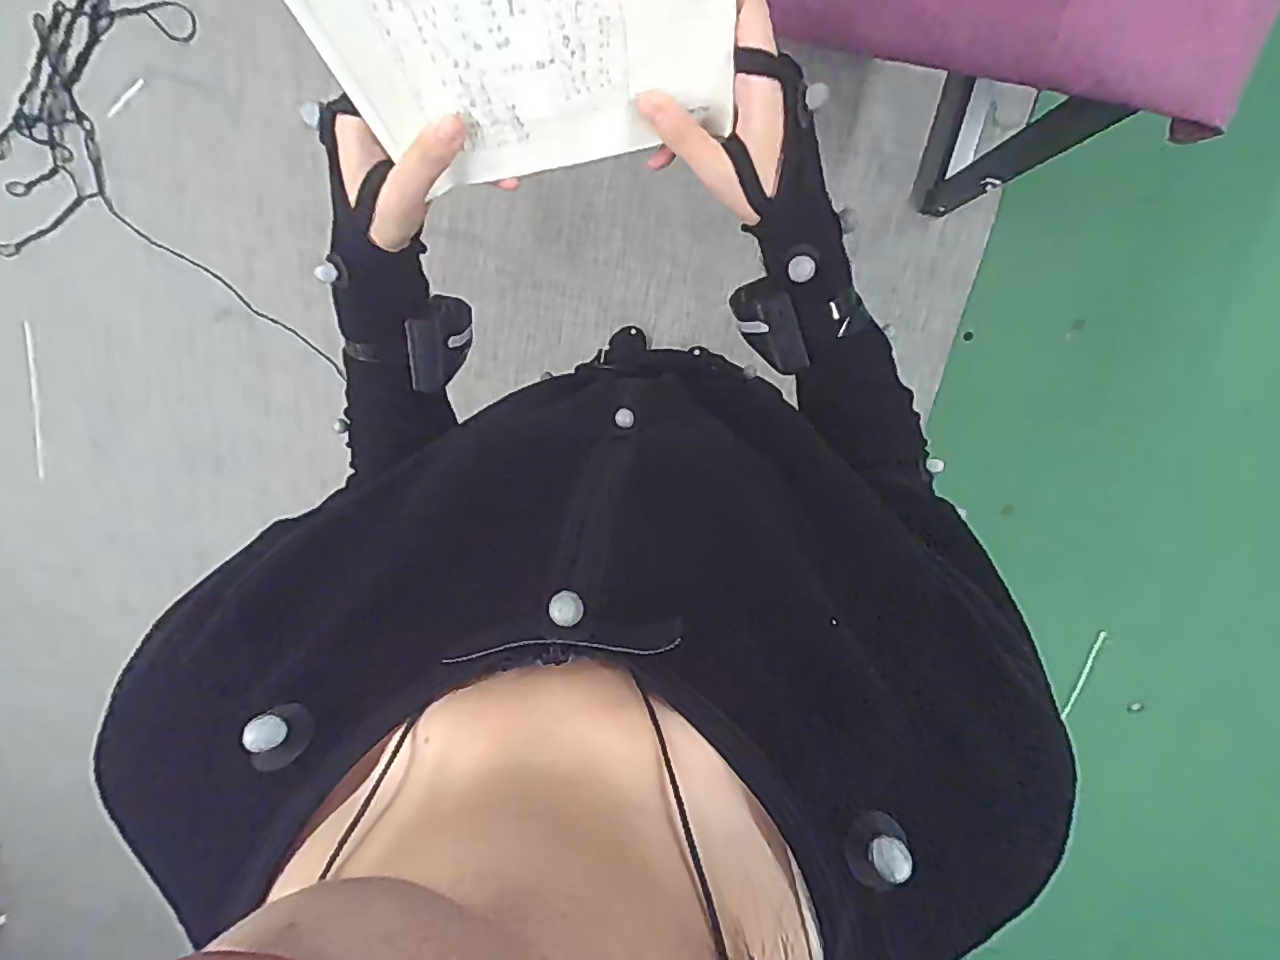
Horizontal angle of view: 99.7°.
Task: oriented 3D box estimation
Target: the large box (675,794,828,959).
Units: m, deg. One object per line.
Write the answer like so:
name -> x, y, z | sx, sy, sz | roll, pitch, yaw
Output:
large box -> 0.312, 1.182, 1.612 | 0.408, 0.320, 0.320 | -2, 104, 4

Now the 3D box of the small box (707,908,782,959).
small box -> 0.266, 1.237, 1.377 | 0.179, 0.176, 0.168 | 2, 102, 4
